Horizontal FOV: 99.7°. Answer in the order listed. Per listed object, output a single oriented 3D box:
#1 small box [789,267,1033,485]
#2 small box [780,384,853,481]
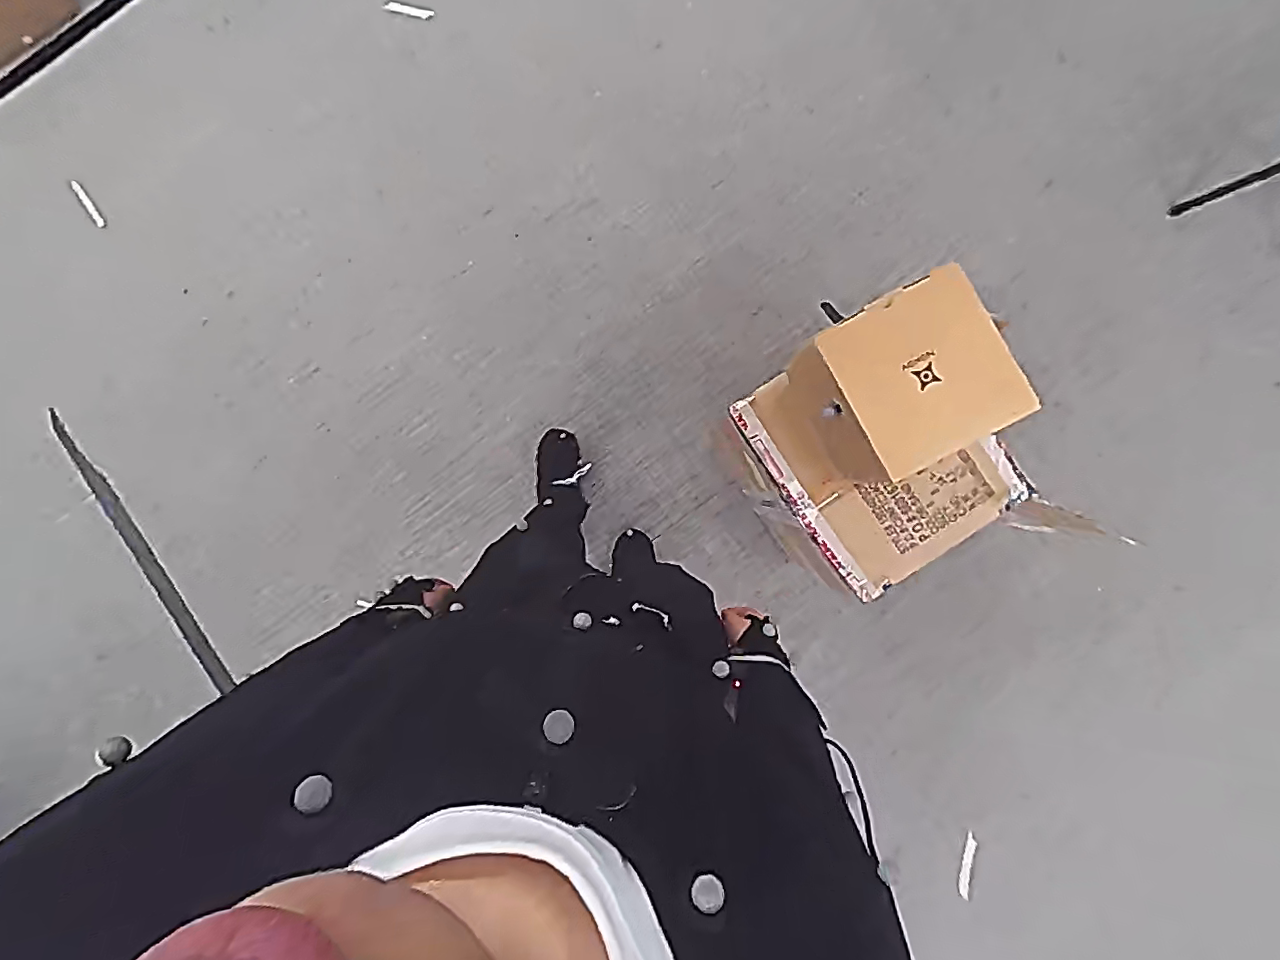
[{"bbox_3d":[0.297,-0.107,0.636,0.168,0.176,0.179,-28,86,4],"label":"small box"},{"bbox_3d":[0.328,-0.109,0.796,0.168,0.176,0.179,-33,87,4],"label":"small box"}]
